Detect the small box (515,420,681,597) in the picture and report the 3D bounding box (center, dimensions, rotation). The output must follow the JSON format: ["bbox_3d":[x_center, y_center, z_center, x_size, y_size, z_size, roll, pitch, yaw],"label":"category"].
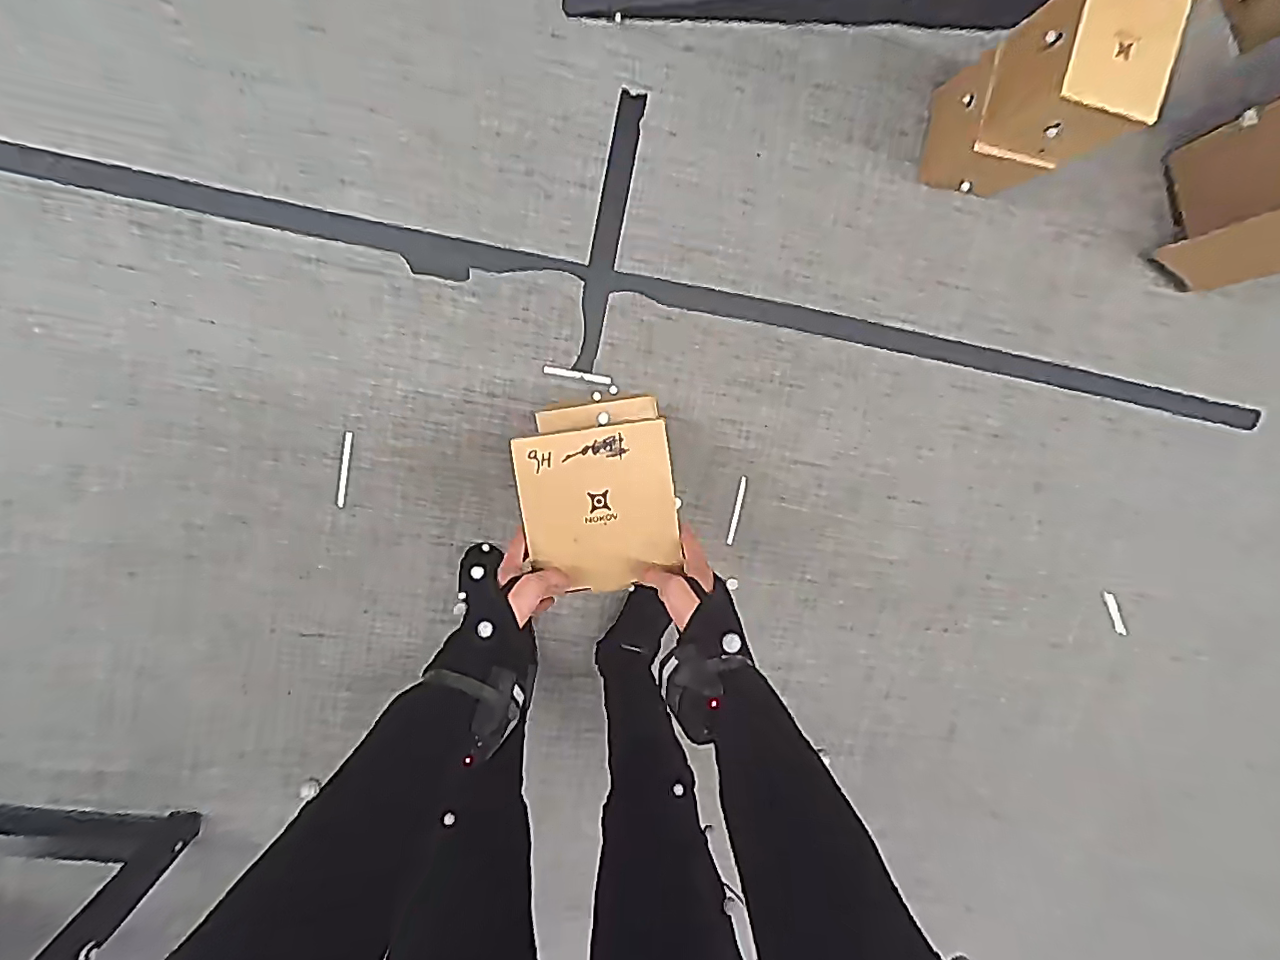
[{"bbox_3d":[-0.045,0.024,0.662,0.168,0.176,0.179,-8,97,-2],"label":"small box"}]
